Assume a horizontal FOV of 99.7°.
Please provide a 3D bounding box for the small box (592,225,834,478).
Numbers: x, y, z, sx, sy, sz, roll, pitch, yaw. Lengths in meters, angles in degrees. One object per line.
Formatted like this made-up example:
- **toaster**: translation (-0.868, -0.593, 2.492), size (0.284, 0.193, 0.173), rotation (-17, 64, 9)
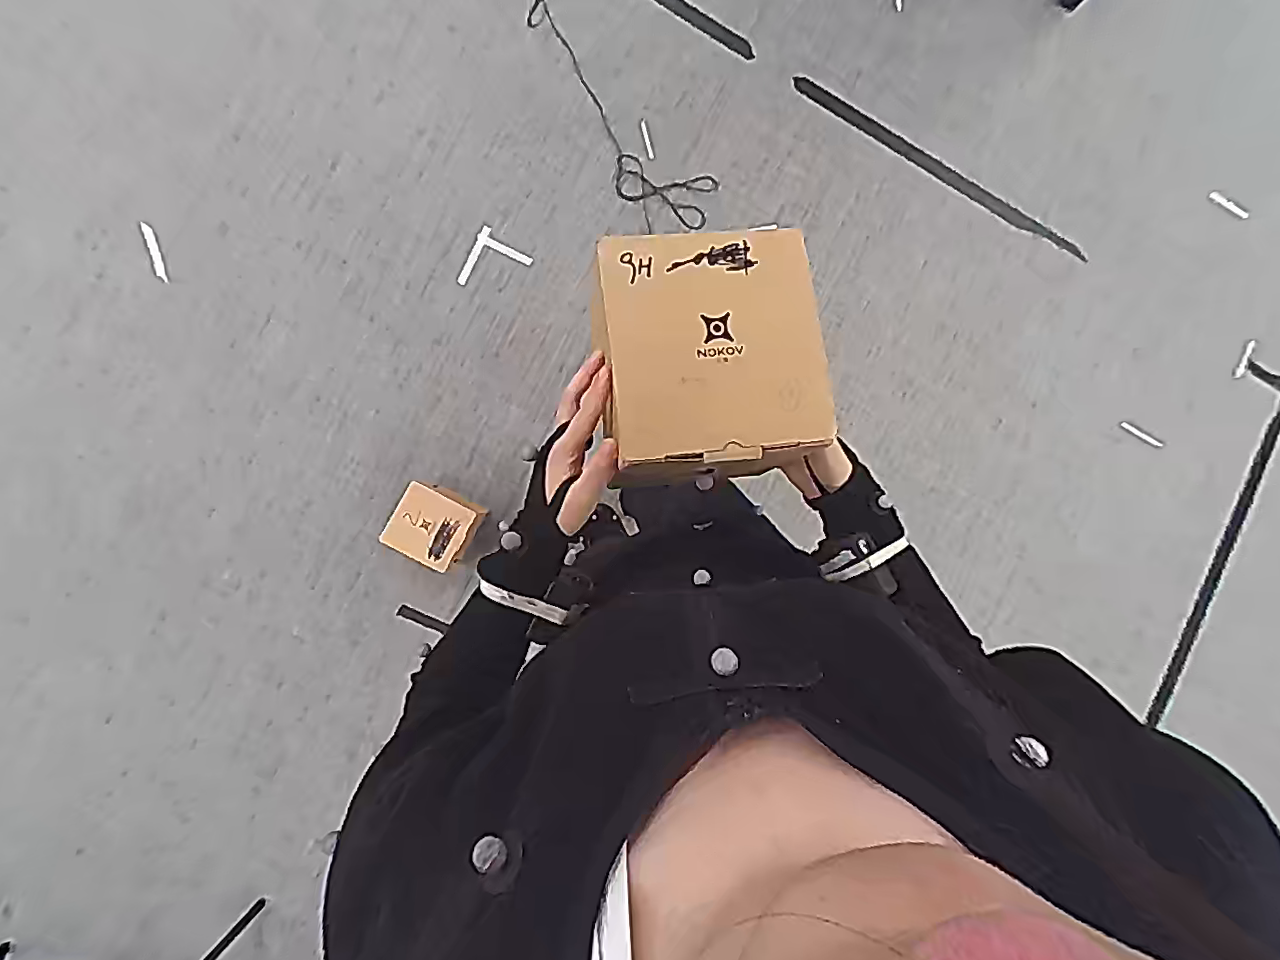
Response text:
- **small box**: translation (0.048, -0.097, 0.482), size (0.168, 0.176, 0.179), rotation (-6, 84, -8)

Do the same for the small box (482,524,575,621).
- **small box**: translation (-0.278, 0.230, 1.389), size (0.168, 0.176, 0.179), rotation (30, 86, -6)
